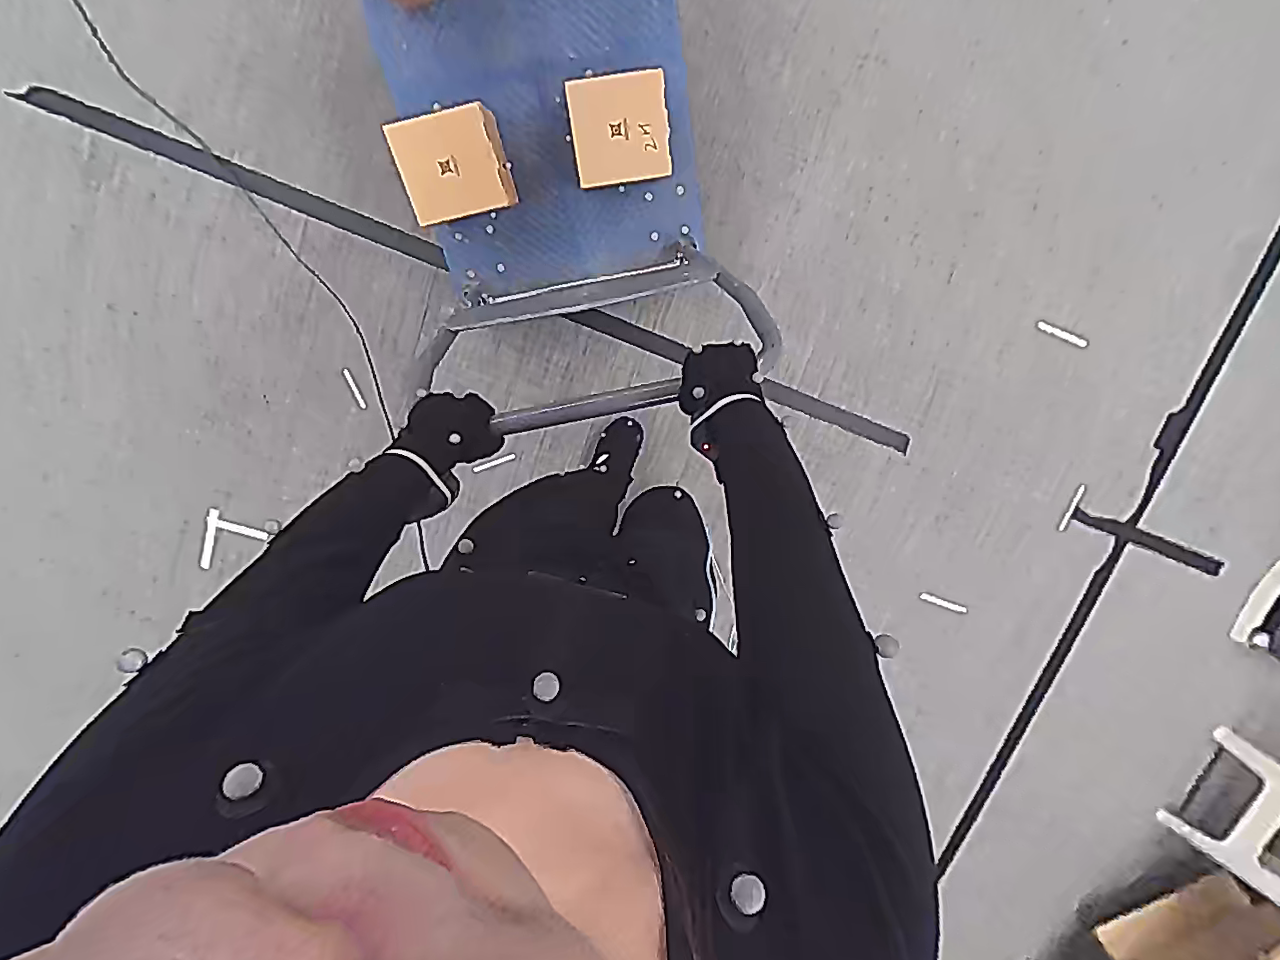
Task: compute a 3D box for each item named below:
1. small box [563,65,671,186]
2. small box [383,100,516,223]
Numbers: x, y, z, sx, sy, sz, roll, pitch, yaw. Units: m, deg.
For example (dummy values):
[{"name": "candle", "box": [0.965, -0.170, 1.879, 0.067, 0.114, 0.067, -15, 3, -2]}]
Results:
[{"name": "small box", "box": [-0.043, -0.666, 1.034, 0.179, 0.176, 0.168, -9, 118, -1]}, {"name": "small box", "box": [-0.352, -0.600, 1.037, 0.179, 0.176, 0.168, -15, 118, 0]}]
